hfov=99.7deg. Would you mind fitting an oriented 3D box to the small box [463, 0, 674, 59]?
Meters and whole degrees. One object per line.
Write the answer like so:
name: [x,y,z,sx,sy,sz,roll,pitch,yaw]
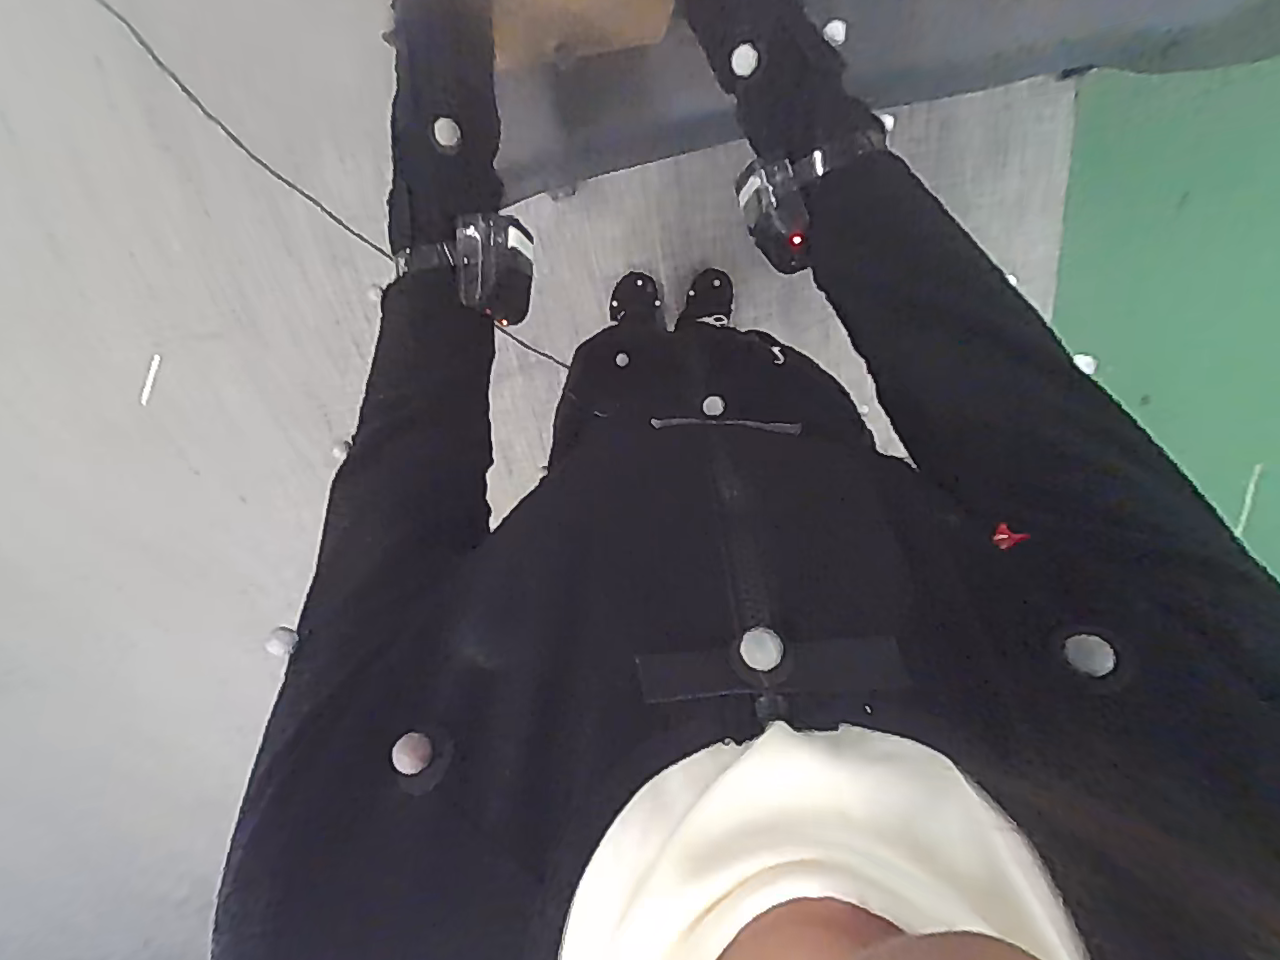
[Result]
small box: [-0.062,-0.432,0.371,0.168,0.176,0.179,-10,112,-2]
